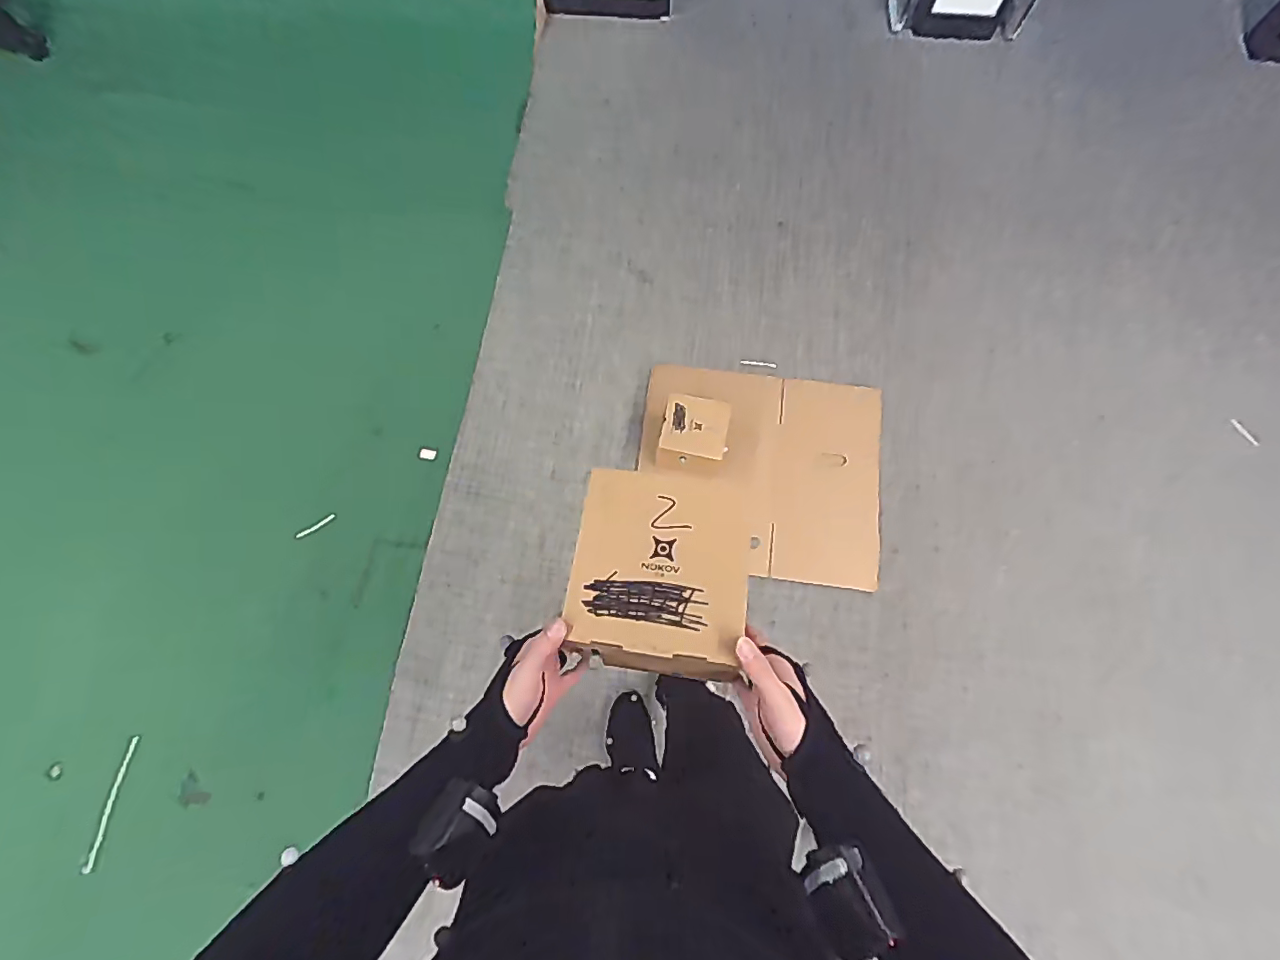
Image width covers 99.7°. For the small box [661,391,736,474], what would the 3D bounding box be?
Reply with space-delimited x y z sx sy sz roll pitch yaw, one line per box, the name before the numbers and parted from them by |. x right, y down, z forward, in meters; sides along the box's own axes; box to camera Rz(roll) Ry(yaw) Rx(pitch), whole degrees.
small box | 0.158 -0.126 1.509 0.179 0.176 0.168 12 76 5
